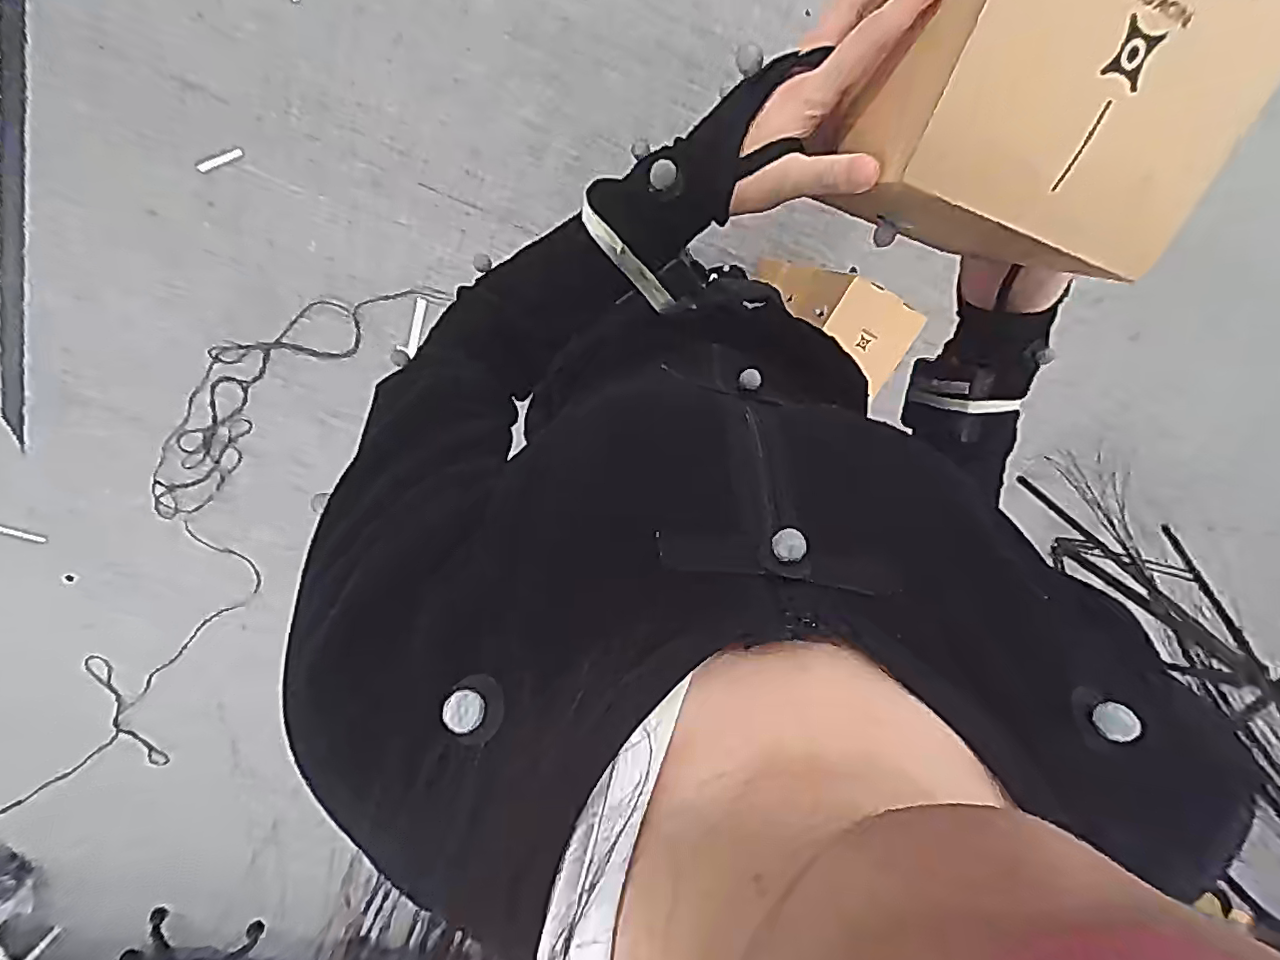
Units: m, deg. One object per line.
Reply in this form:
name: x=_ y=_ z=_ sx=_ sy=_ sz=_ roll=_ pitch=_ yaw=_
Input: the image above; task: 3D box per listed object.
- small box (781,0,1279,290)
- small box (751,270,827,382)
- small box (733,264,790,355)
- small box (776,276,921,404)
small box: x=0.208 y=-0.234 z=0.316 sx=0.168 sy=0.176 sz=0.179 roll=12 pitch=116 yaw=-16
small box: x=0.370 y=-0.347 z=1.196 sx=0.168 sy=0.176 sz=0.179 roll=27 pitch=109 yaw=-15
small box: x=0.349 y=-0.415 z=1.344 sx=0.168 sy=0.176 sz=0.179 roll=24 pitch=109 yaw=-15
small box: x=0.391 y=-0.279 z=1.050 sx=0.168 sy=0.176 sz=0.179 roll=25 pitch=110 yaw=-14
